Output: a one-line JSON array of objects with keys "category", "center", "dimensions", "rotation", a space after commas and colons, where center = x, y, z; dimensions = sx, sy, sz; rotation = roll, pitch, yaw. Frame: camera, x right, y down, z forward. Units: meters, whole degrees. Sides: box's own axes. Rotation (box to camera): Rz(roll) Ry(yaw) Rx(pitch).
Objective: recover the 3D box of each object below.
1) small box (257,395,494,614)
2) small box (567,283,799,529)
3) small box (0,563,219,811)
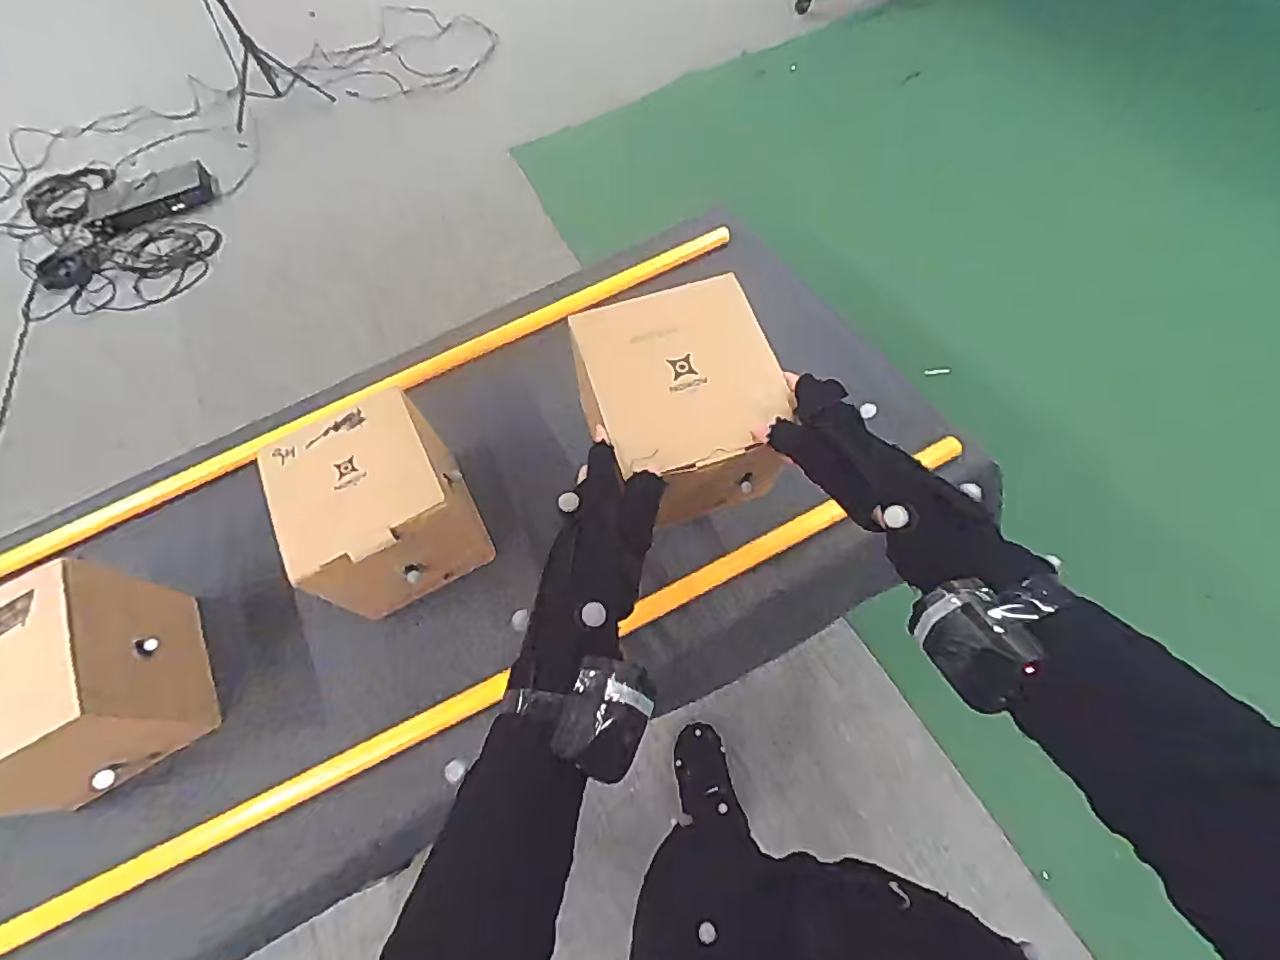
[{"category": "small box", "center": [-0.298, 0.040, 0.638], "dimensions": [0.168, 0.176, 0.179], "rotation": [-31, 64, -9]}, {"category": "small box", "center": [0.034, -0.062, 0.555], "dimensions": [0.168, 0.176, 0.179], "rotation": [-17, 68, -8]}, {"category": "small box", "center": [-0.592, 0.221, 0.565], "dimensions": [0.168, 0.176, 0.179], "rotation": [-30, 65, -11]}]
